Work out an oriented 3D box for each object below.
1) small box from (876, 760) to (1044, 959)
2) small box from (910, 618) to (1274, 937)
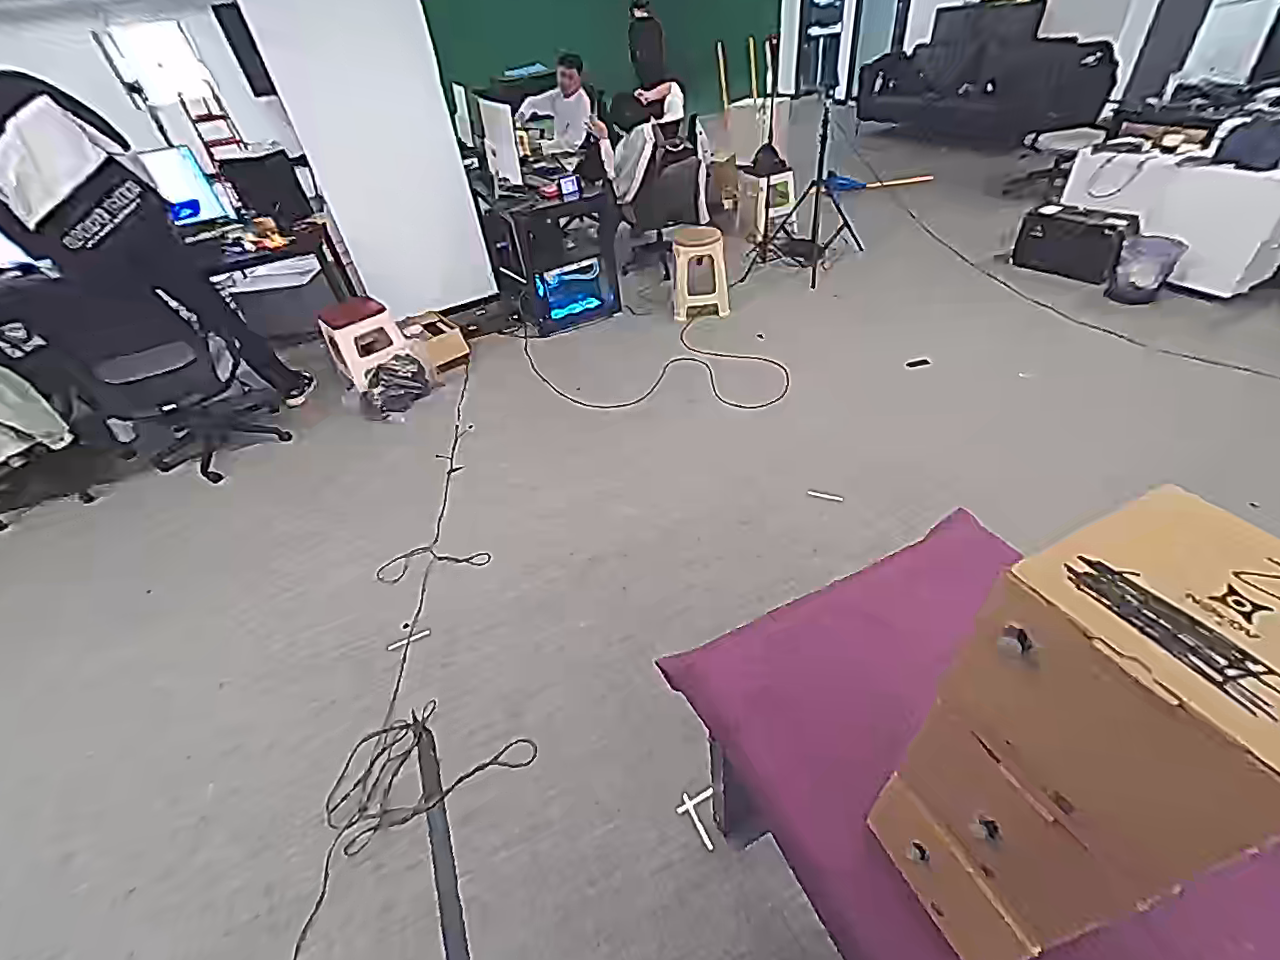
[{"bbox_3d":[0.387,0.394,0.598,0.179,0.176,0.168,-20,43,-15],"label":"small box"},{"bbox_3d":[0.377,0.268,0.493,0.179,0.176,0.168,-22,44,-16],"label":"small box"}]
